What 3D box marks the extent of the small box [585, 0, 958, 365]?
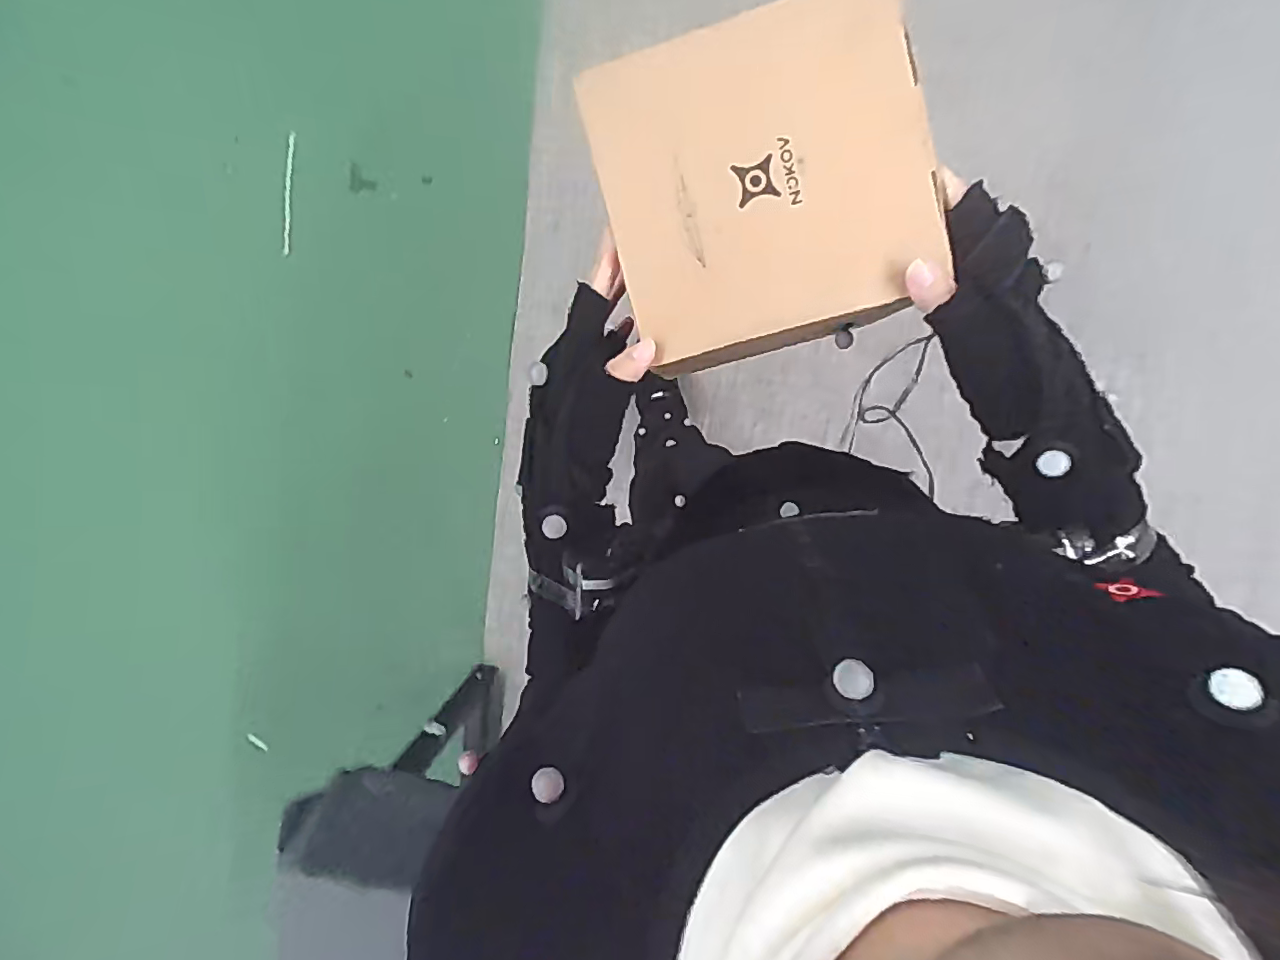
[{"bbox_3d":[0.080,-0.184,0.374,0.179,0.176,0.168,-14,95,9],"label":"small box"}]
